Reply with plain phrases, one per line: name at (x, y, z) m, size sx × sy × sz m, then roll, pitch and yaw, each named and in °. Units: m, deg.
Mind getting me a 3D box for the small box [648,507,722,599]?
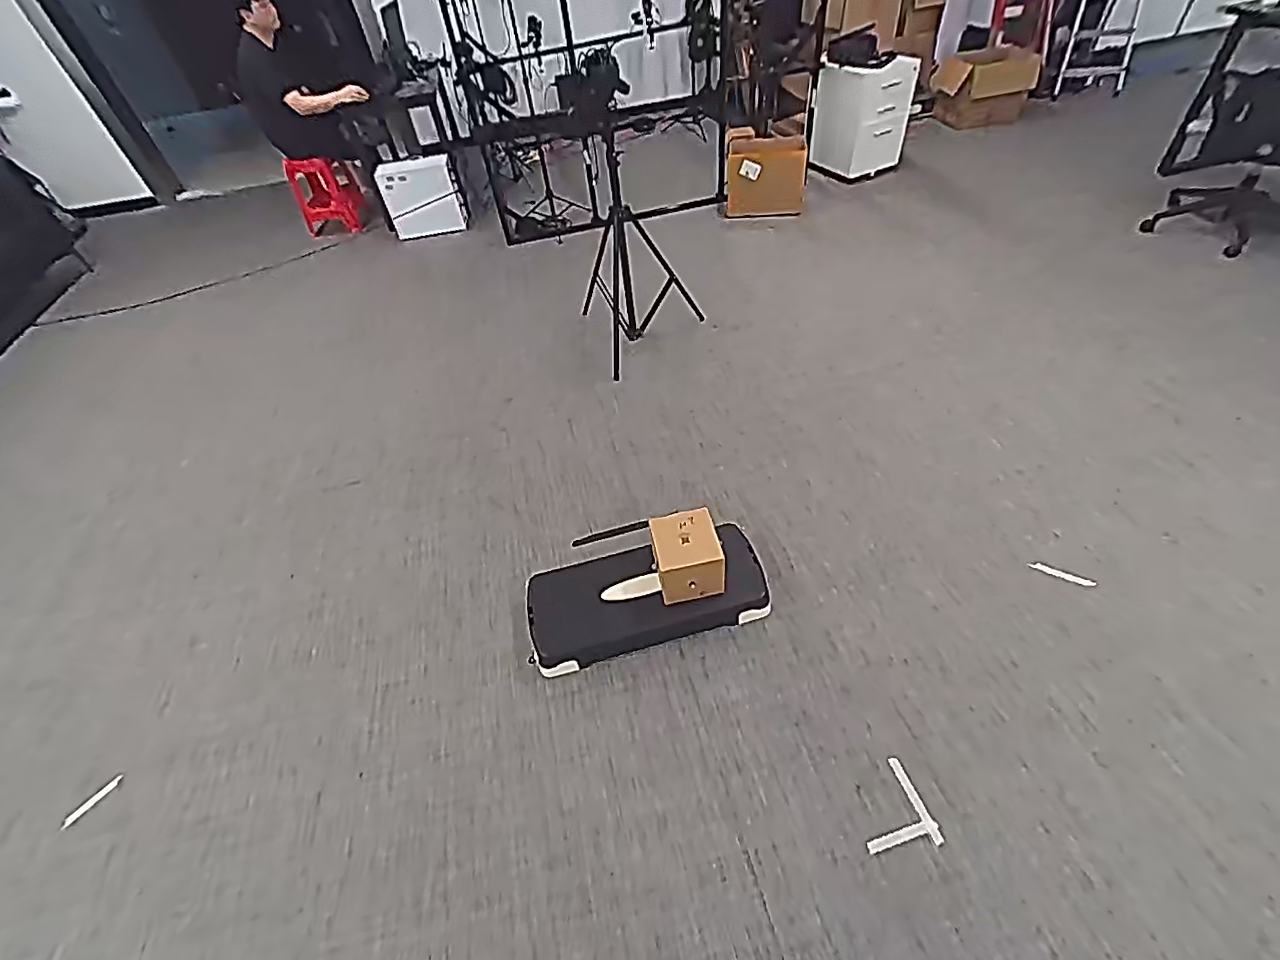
small box at (0.123, 0.204, 1.459) m, size 0.168 × 0.176 × 0.179 m, roll -11°, pitch 47°, yaw -3°
